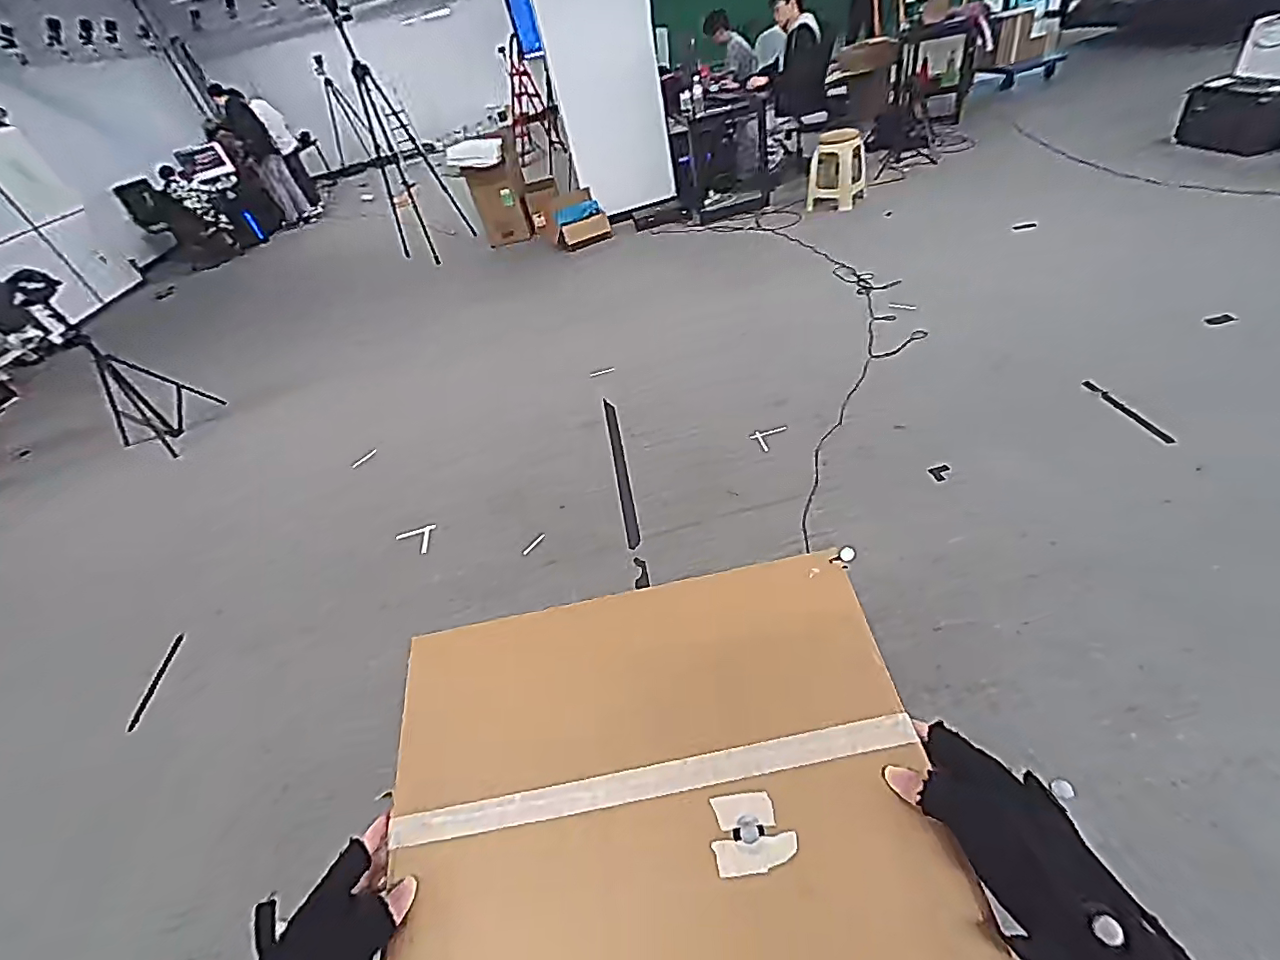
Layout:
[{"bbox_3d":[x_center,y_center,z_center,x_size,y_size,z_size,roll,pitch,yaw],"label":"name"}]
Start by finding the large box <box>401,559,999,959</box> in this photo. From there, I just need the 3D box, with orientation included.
[{"bbox_3d":[0.032,0.324,0.545,0.408,0.320,0.320,-12,54,2],"label":"large box"}]
